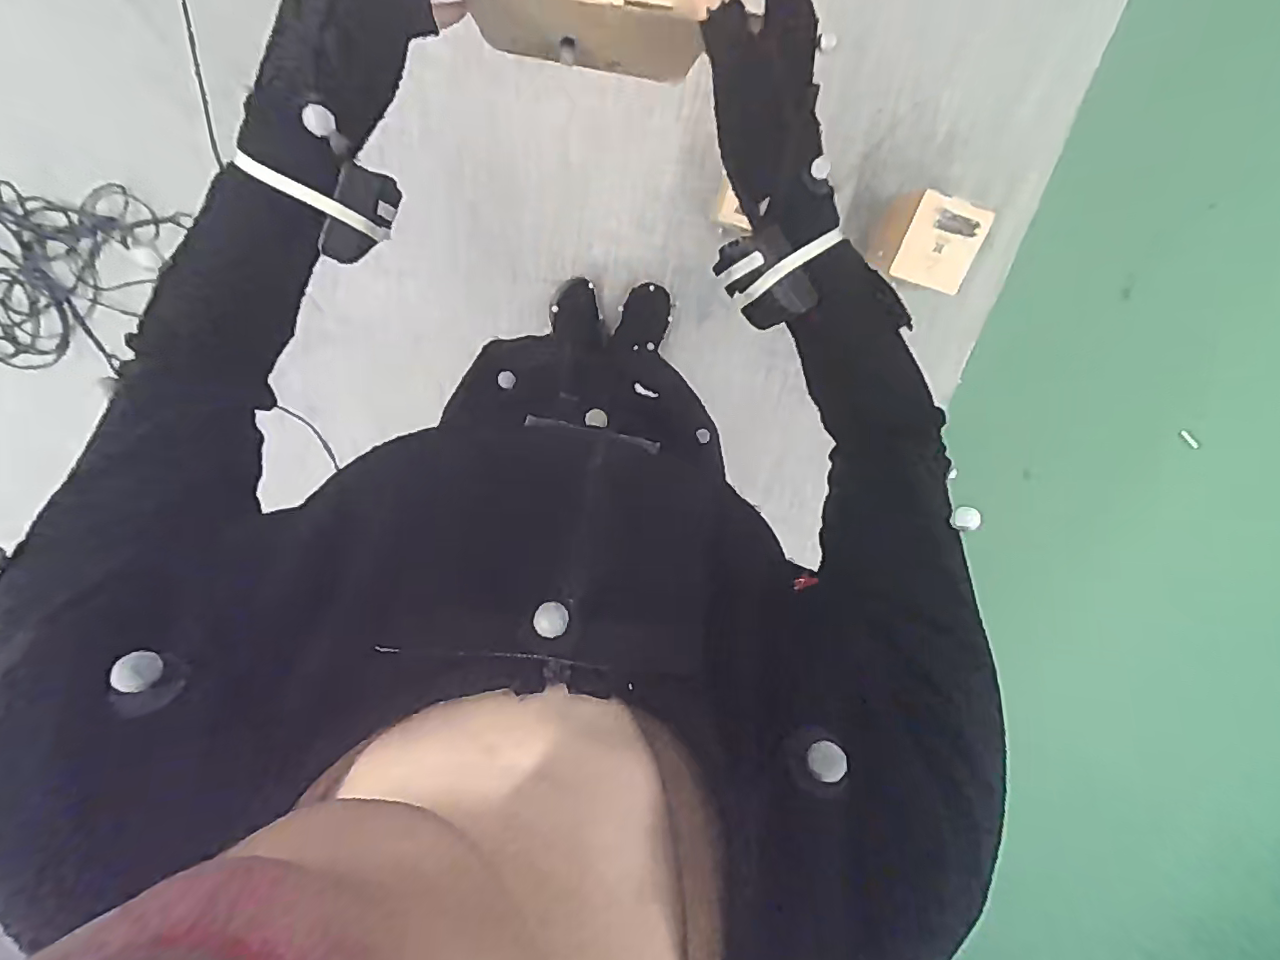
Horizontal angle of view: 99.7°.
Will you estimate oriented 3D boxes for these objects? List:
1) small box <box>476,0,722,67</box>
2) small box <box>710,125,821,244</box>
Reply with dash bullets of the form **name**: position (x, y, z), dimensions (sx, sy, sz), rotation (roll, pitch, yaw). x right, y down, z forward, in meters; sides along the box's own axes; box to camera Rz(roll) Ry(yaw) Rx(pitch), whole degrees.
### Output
- **small box**: position (-0.029, -0.394, 0.337), dimensions (0.168, 0.176, 0.179), rotation (4, 117, -8)
- **small box**: position (0.259, -0.627, 1.171), dimensions (0.168, 0.176, 0.179), rotation (17, 111, -8)
